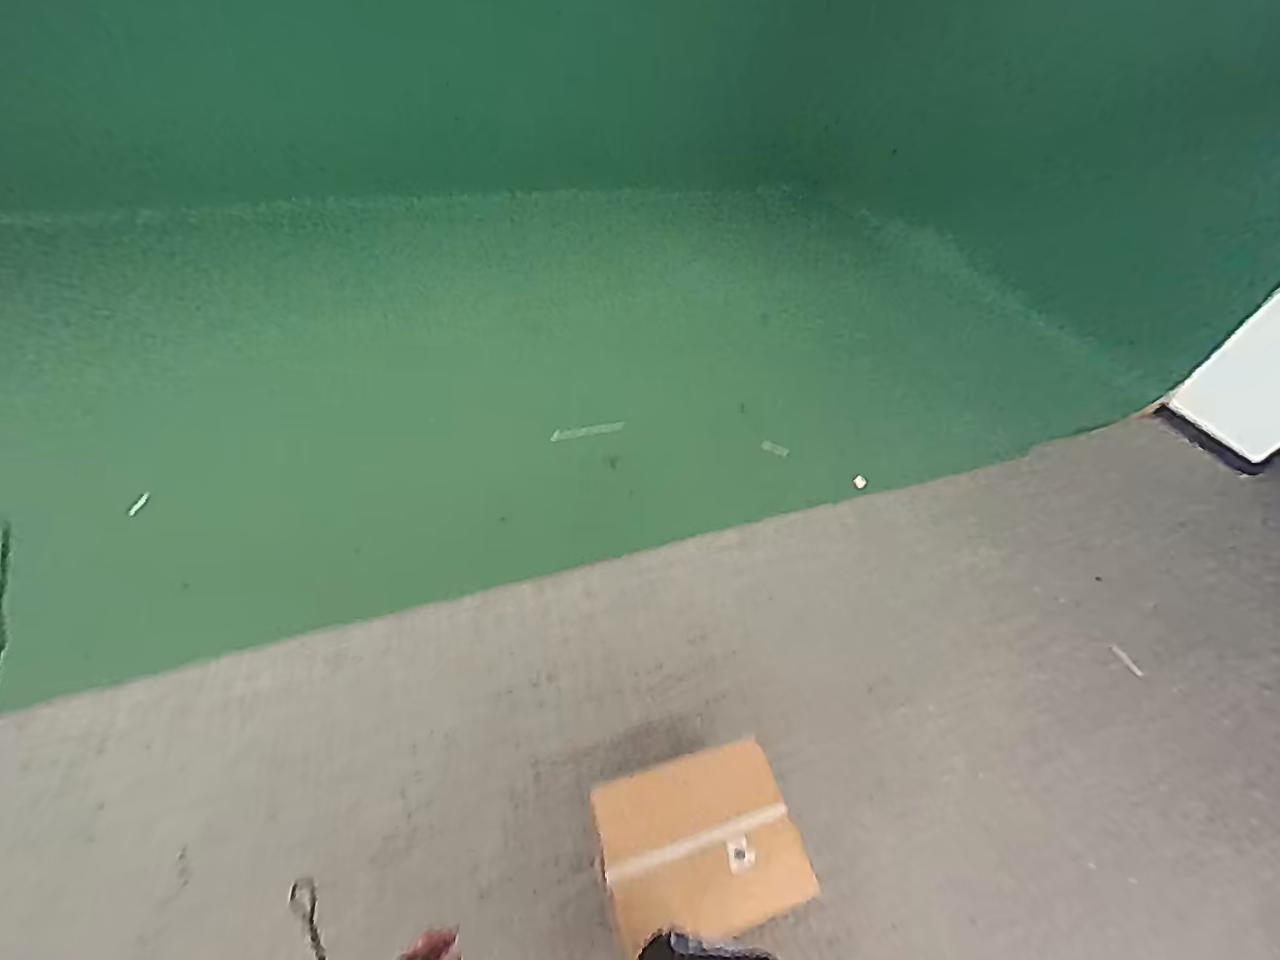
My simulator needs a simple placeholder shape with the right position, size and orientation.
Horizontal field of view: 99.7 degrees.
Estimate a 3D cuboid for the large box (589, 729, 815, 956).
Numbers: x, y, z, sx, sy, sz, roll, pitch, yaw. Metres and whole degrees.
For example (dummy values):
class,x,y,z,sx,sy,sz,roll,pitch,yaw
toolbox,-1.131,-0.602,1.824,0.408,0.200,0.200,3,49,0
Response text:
class,x,y,z,sx,sy,sz,roll,pitch,yaw
large box,0.113,0.829,1.245,0.408,0.320,0.320,-9,52,-15
